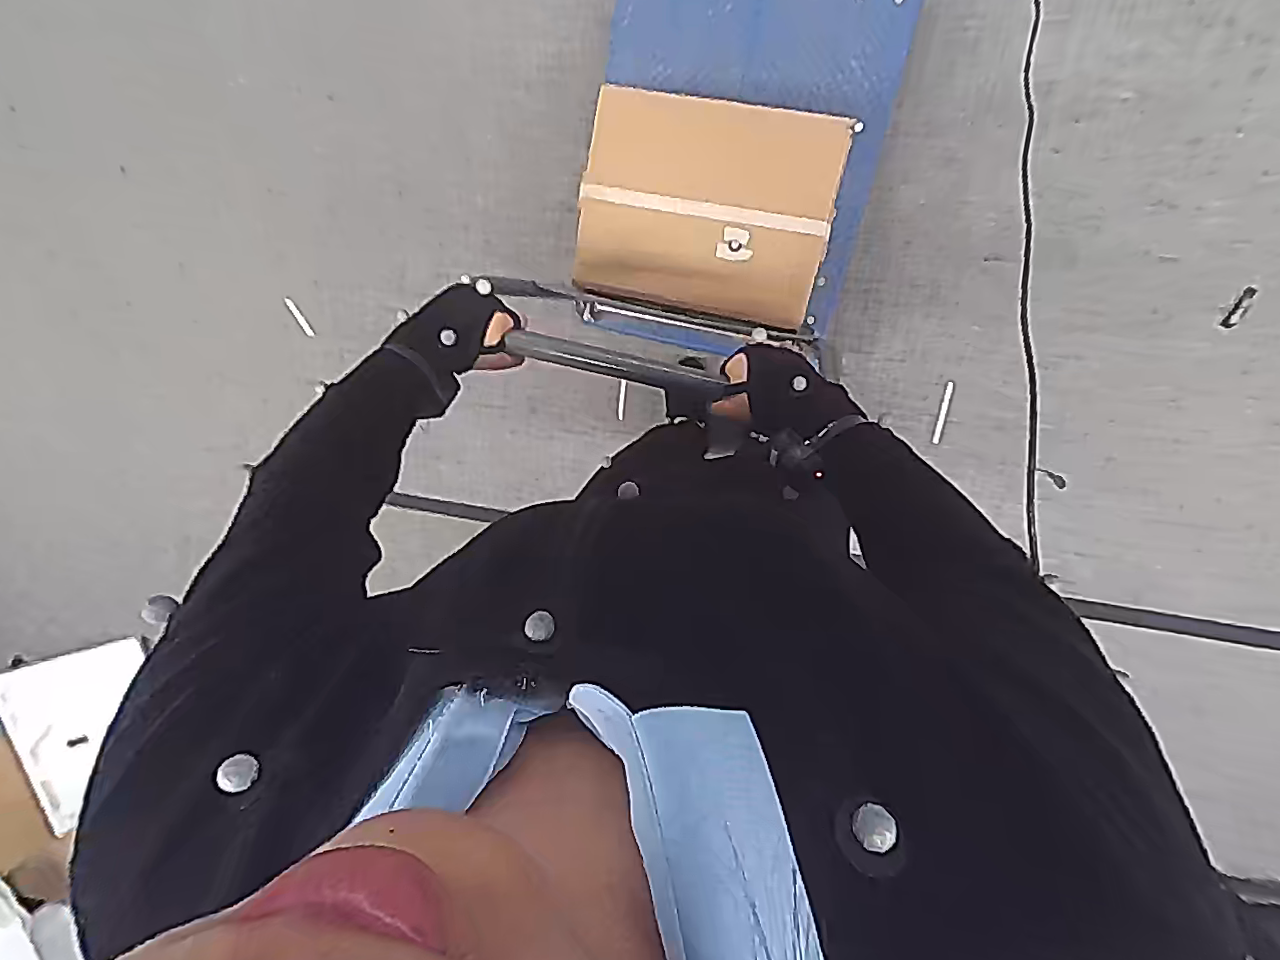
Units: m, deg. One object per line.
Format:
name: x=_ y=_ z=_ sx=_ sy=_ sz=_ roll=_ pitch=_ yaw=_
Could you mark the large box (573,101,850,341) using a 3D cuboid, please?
large box: x=0.125 y=-0.455 z=1.018 sx=0.408 sy=0.320 sz=0.320 roll=13 pitch=106 yaw=8
